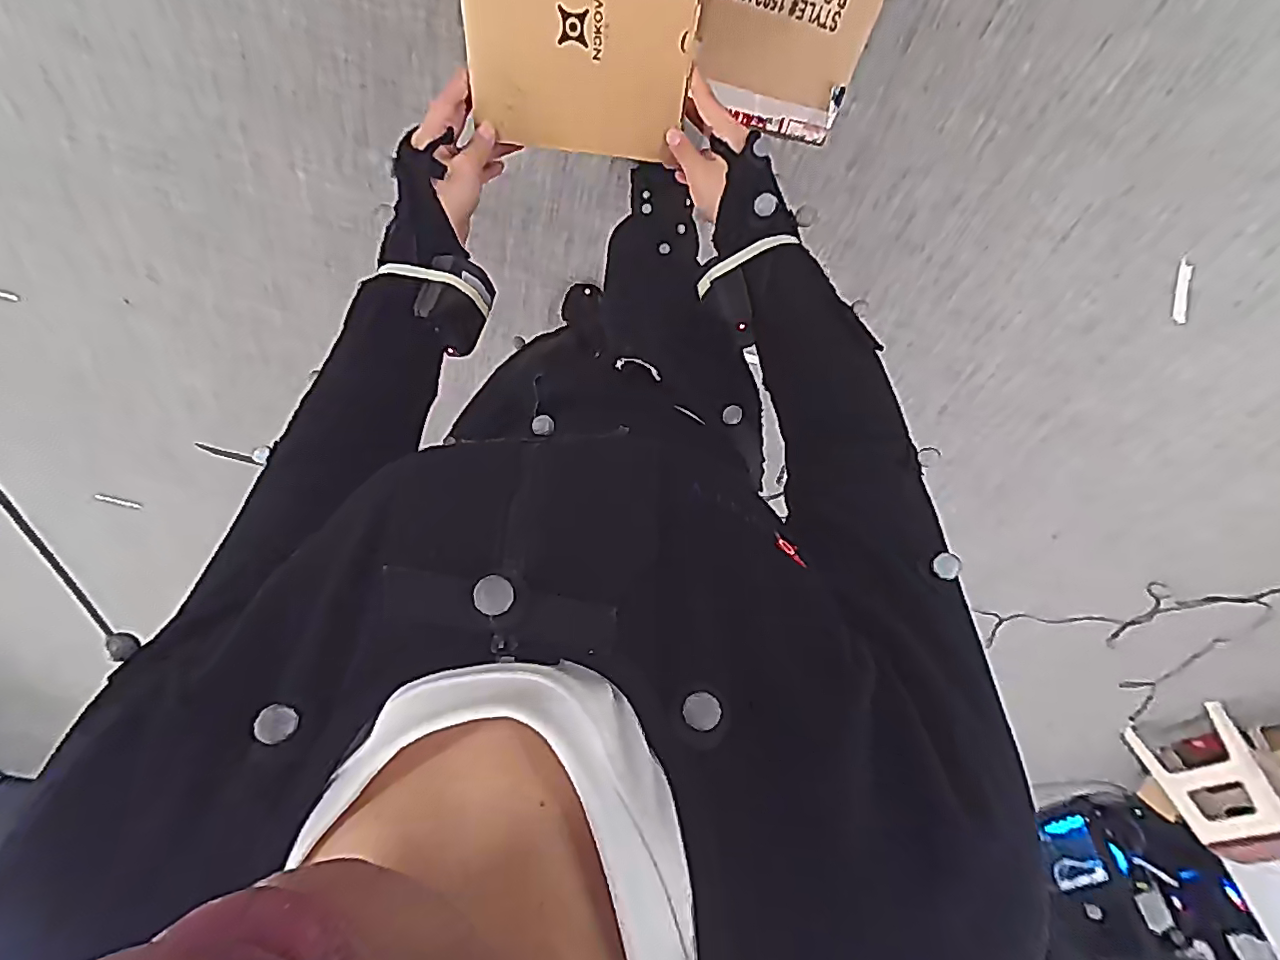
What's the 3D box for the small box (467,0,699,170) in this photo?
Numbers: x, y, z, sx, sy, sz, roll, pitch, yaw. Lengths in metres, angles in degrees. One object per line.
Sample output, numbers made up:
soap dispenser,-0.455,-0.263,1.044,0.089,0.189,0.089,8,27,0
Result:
small box,-0.042,-0.396,0.473,0.179,0.176,0.168,5,136,-3
